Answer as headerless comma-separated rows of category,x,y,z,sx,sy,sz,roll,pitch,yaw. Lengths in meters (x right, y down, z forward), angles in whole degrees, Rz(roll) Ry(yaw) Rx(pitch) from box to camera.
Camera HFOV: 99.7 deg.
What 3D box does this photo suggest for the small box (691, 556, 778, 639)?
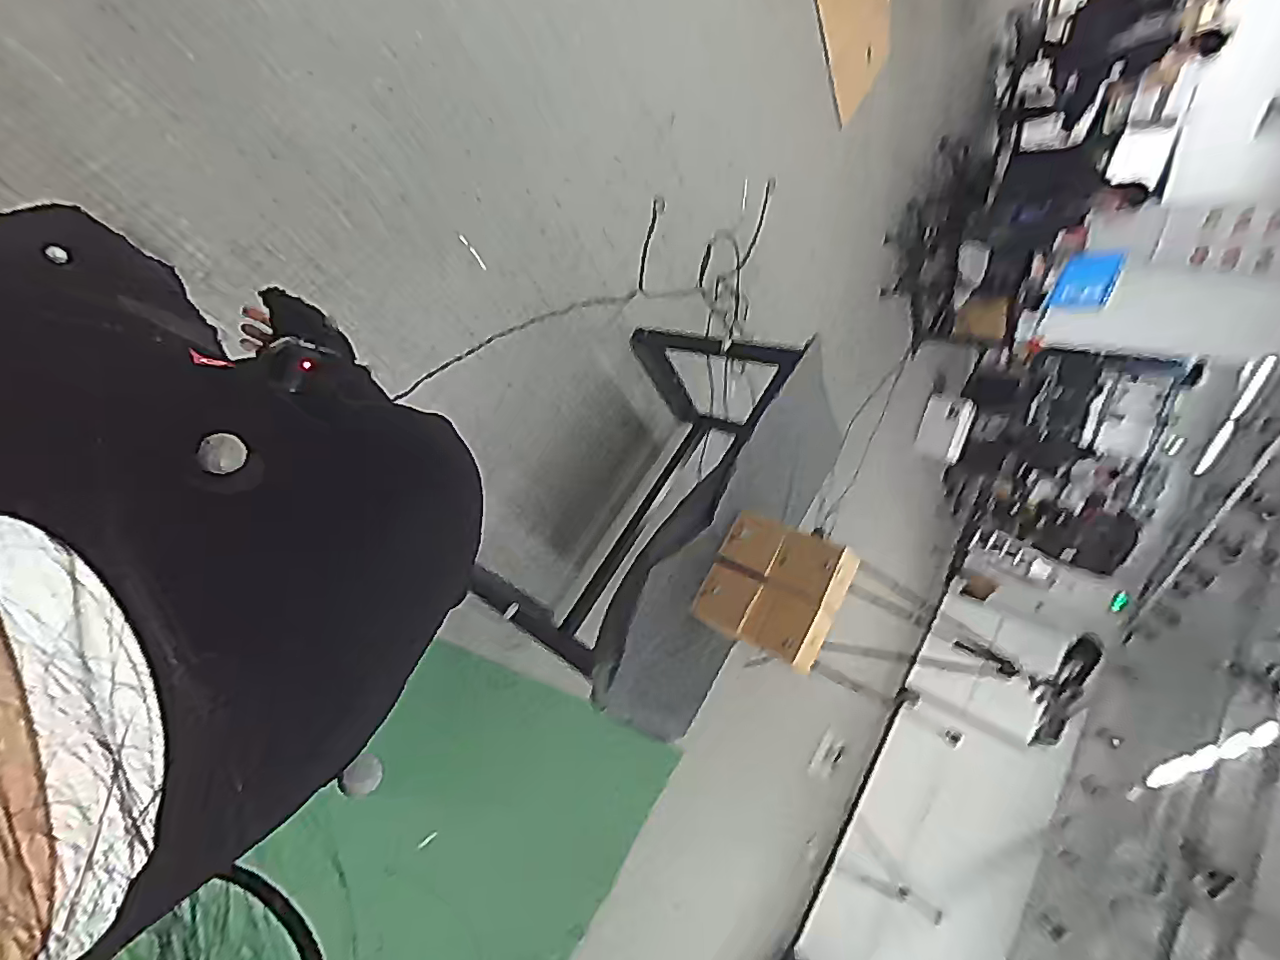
small box,0.283,0.346,1.614,0.168,0.176,0.179,-60,141,-14
